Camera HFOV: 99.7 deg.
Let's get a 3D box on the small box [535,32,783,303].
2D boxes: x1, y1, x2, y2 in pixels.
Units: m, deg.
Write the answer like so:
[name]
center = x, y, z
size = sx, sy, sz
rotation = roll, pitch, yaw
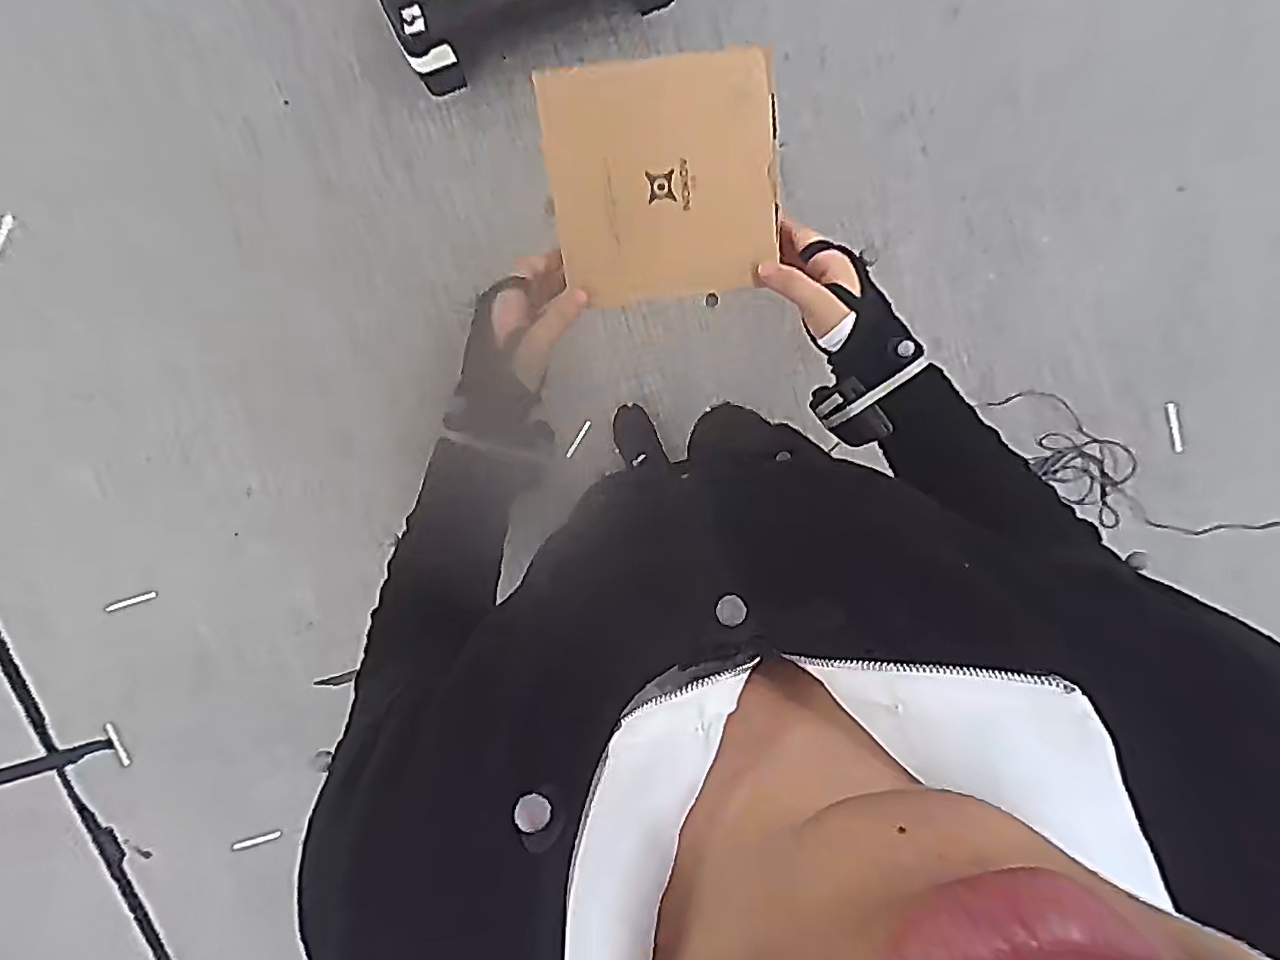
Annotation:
[small box]
center = 0.015, -0.257, 0.483
size = 0.179, 0.176, 0.168
rotation = -8, 109, 0
